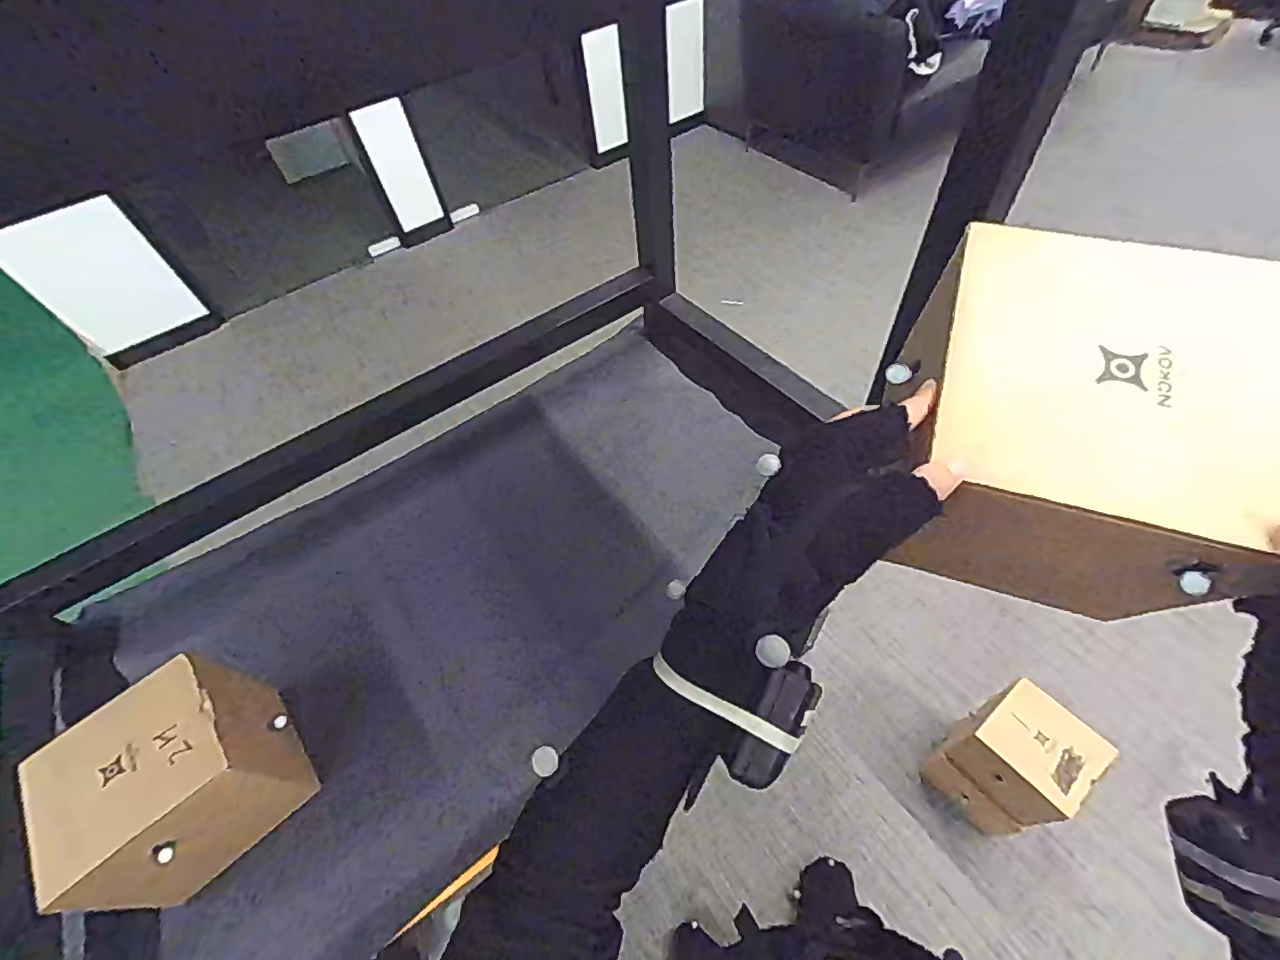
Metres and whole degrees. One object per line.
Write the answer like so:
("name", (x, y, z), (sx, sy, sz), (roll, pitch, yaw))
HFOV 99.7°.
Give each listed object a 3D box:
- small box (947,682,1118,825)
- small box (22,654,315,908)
("small box", (0.736, 0.526, 1.033), (0.168, 0.176, 0.179), (-35, 56, -18))
("small box", (-0.522, 0.341, 0.617), (0.179, 0.176, 0.168), (-38, 59, -20))
